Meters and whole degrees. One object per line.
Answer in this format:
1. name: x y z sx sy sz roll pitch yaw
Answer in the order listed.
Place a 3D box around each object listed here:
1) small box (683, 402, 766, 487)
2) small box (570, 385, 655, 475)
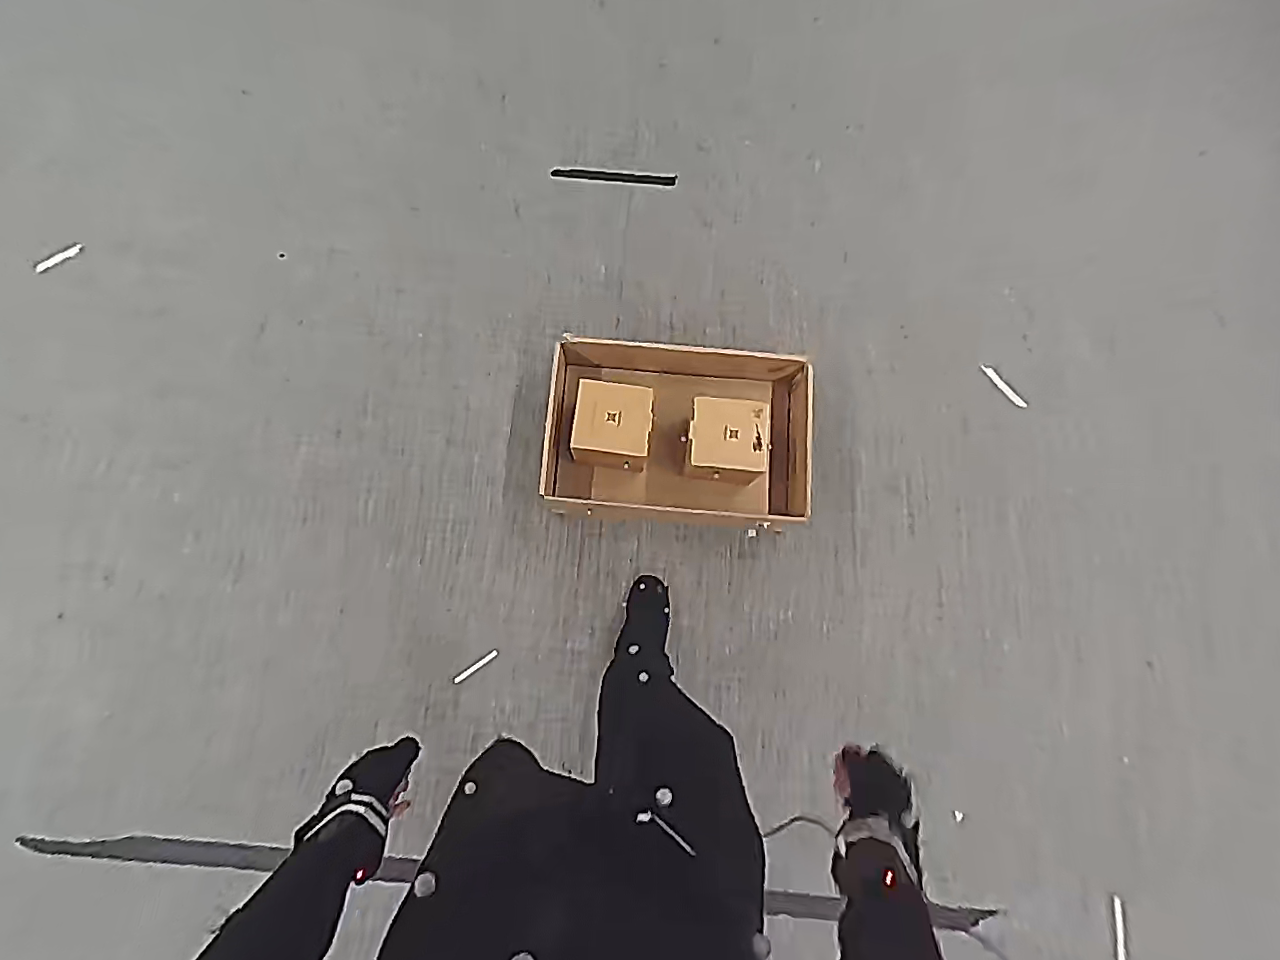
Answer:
1. small box: 0.198 -0.080 1.310 0.179 0.176 0.168 5 79 0
2. small box: -0.066 -0.114 1.305 0.179 0.176 0.168 7 78 -1
